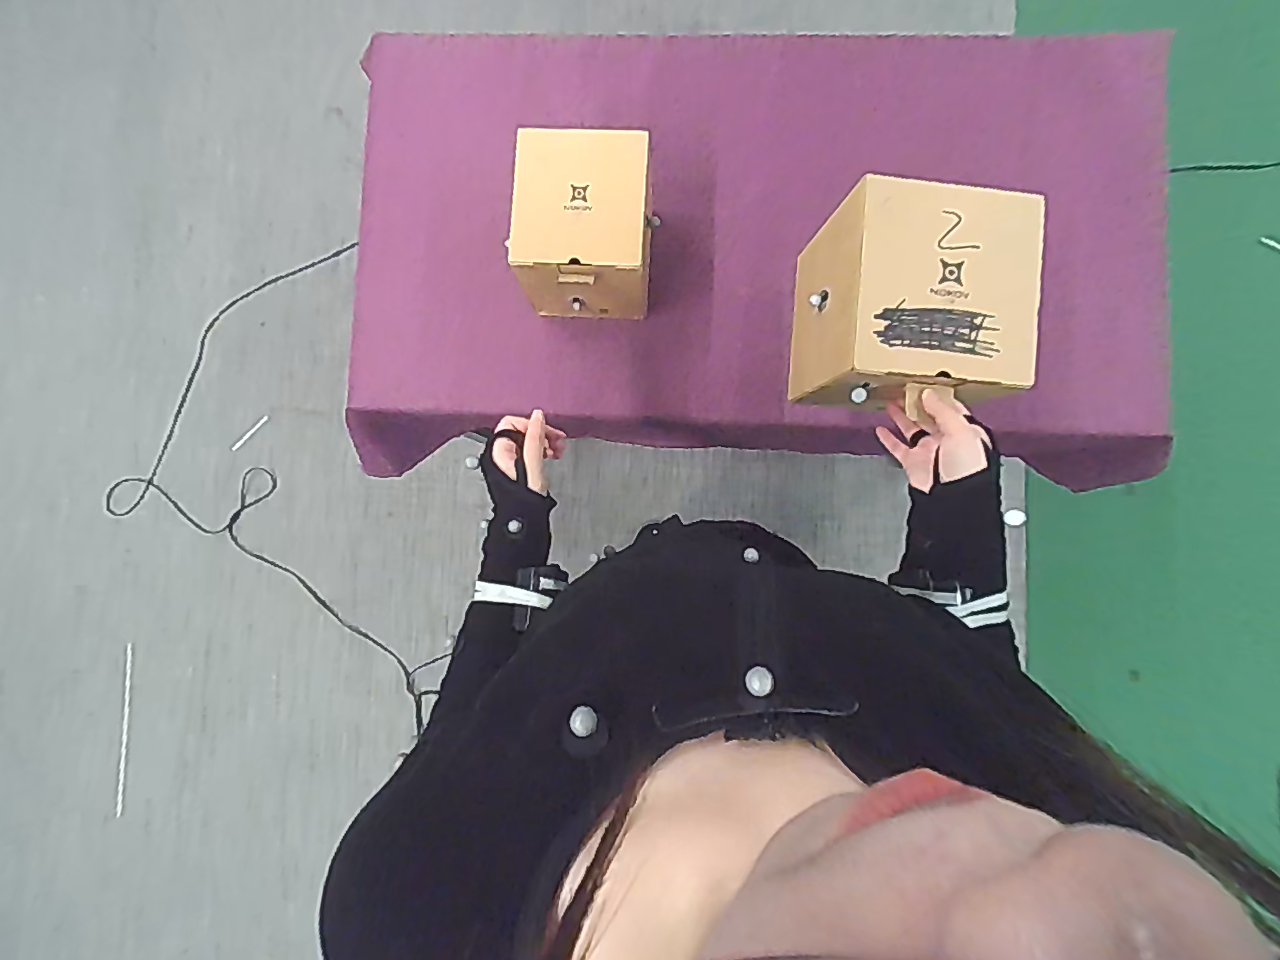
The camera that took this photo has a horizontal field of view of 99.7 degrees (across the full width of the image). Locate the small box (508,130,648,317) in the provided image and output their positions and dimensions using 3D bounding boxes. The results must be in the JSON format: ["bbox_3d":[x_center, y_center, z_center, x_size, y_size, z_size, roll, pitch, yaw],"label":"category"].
[{"bbox_3d":[-0.075,-0.346,0.755,0.168,0.176,0.179,3,87,2],"label":"small box"}]
